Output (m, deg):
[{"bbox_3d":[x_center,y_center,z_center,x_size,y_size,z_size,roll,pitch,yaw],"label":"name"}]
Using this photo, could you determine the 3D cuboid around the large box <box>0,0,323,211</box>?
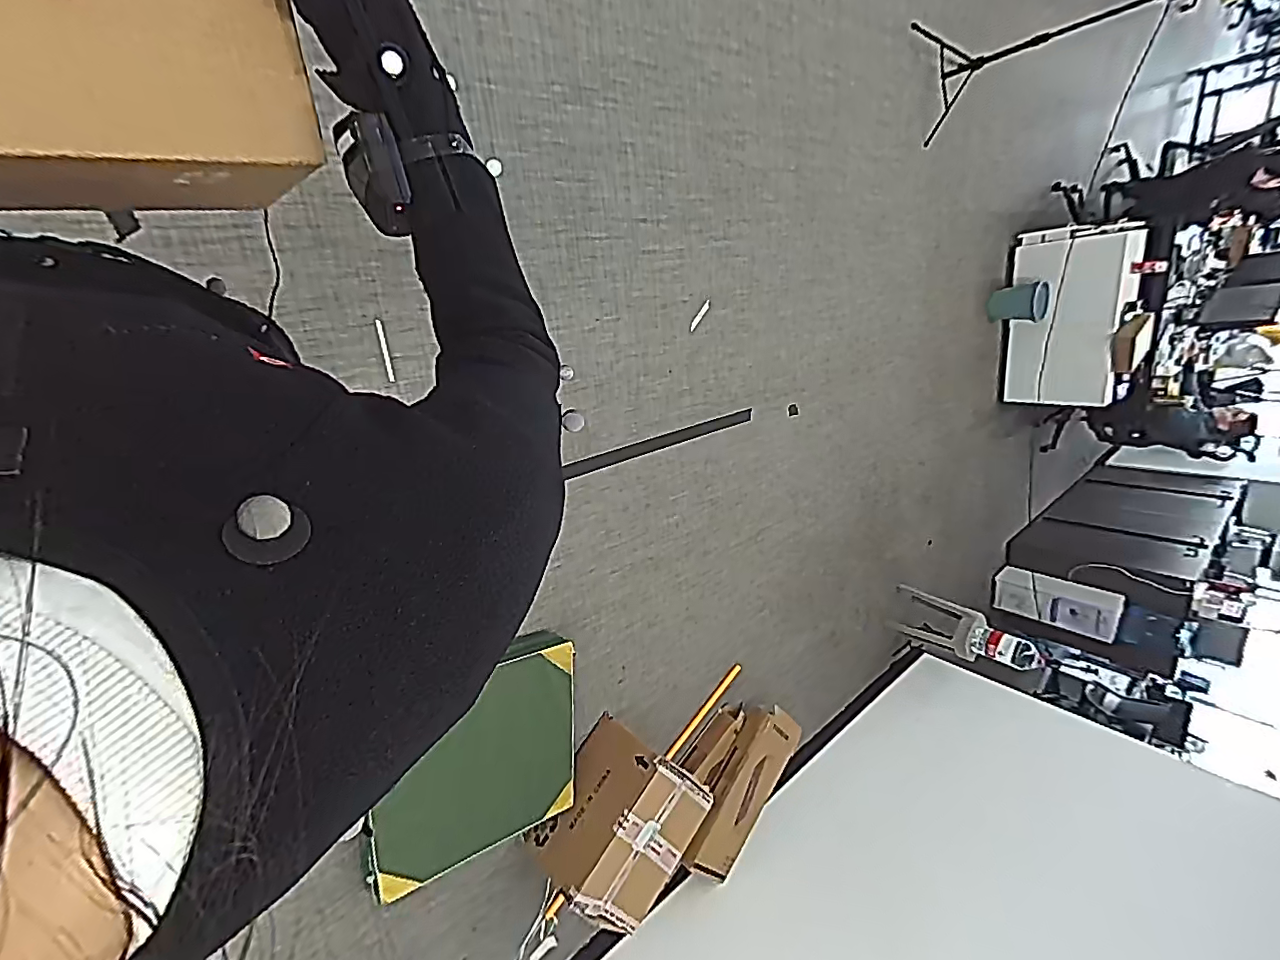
[{"bbox_3d":[-0.483,-0.343,0.319,0.408,0.320,0.320,-22,120,-35],"label":"large box"}]
